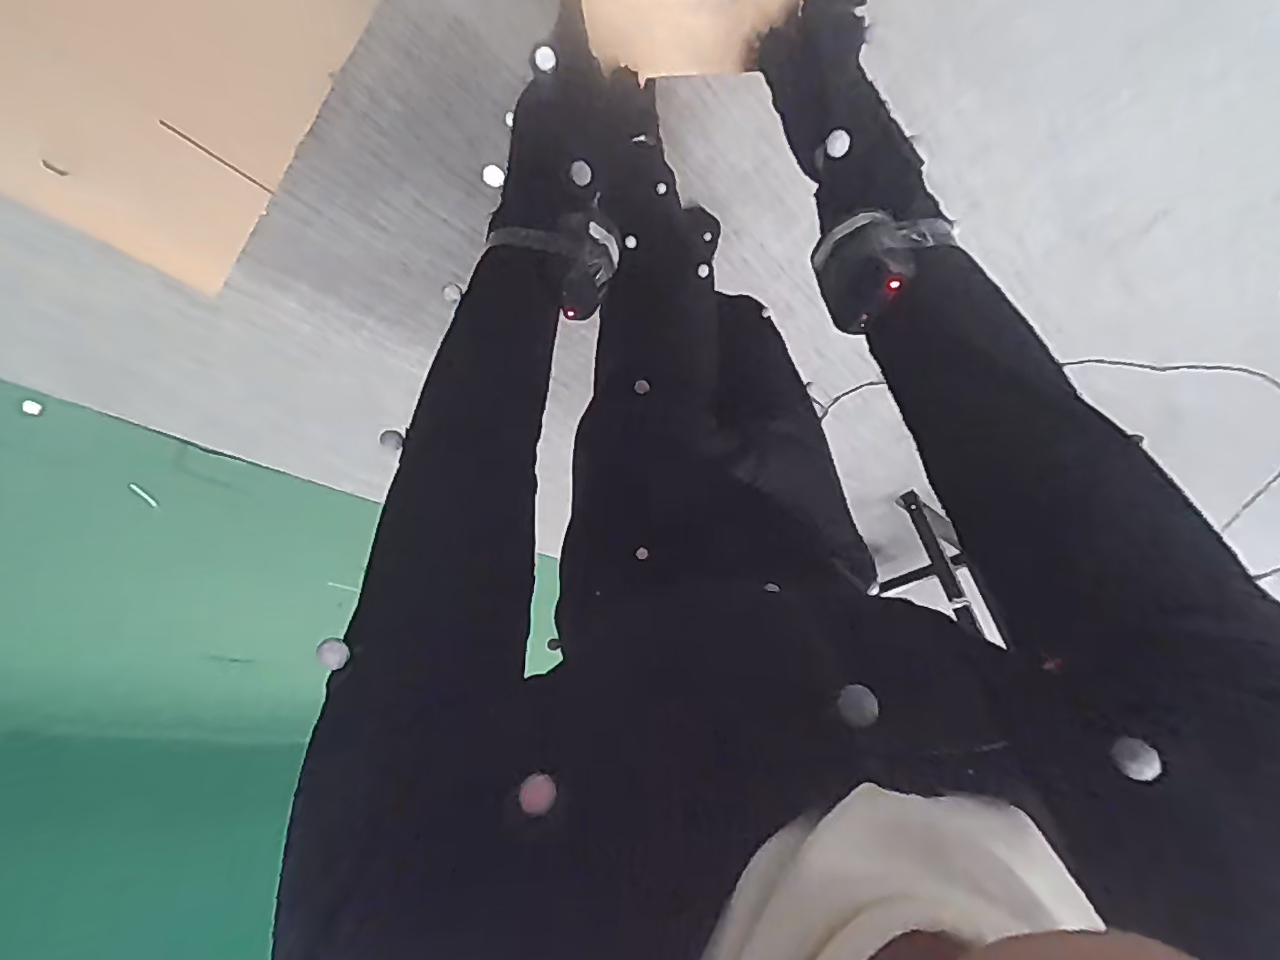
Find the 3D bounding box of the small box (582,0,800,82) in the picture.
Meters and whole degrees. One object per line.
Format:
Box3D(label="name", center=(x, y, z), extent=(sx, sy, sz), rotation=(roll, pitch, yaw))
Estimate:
Box3D(label="small box", center=(0.031, -0.447, 0.425), extent=(0.168, 0.176, 0.179), rotation=(-5, 141, -1))
